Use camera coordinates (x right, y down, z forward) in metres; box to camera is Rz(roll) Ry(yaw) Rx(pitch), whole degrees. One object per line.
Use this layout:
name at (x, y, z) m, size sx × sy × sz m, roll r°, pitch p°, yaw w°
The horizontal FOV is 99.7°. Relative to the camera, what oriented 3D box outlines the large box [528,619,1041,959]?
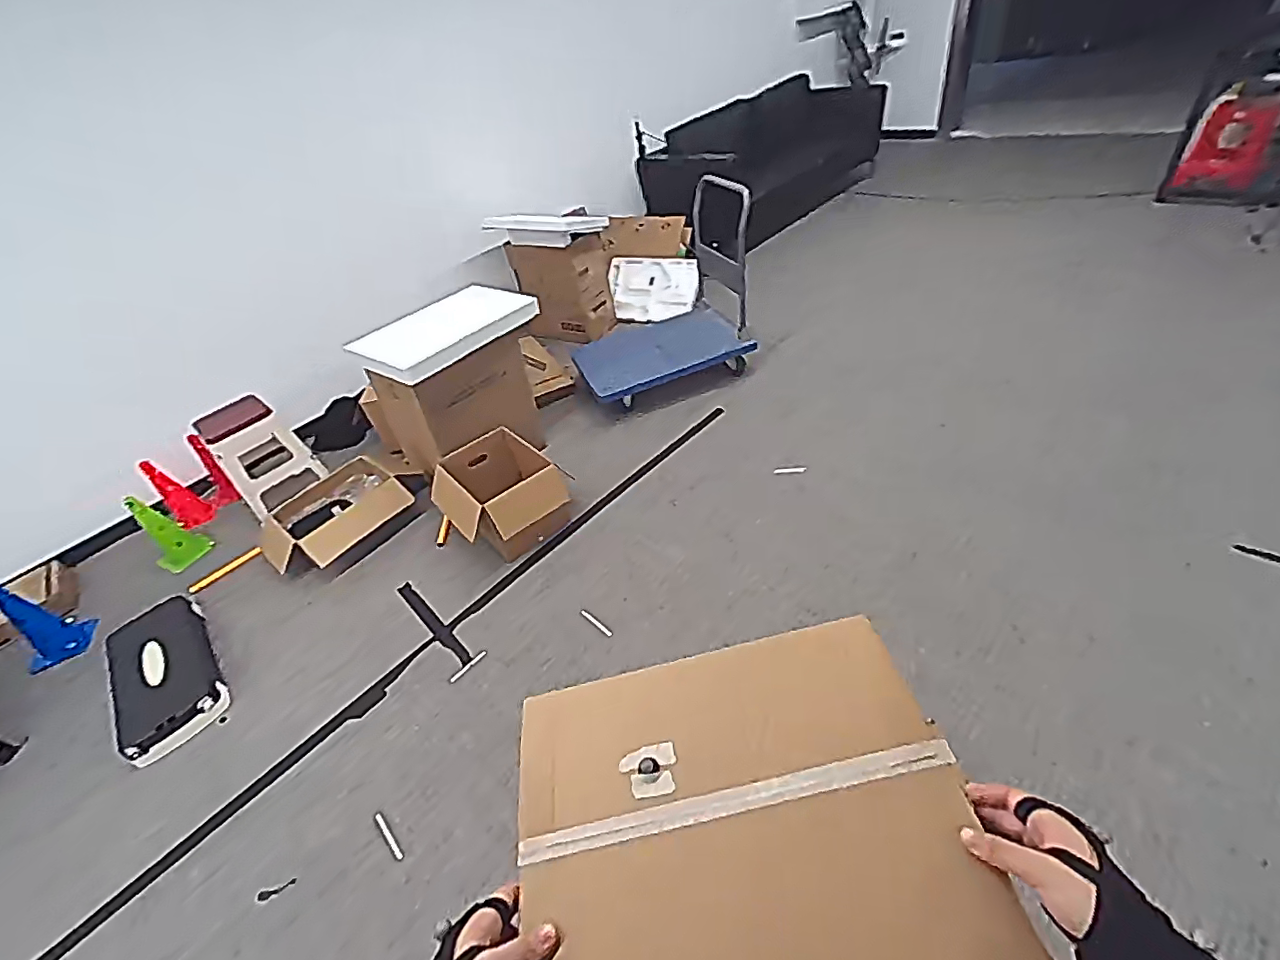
large box at (0.121, 0.416, 0.609) m, size 0.408 × 0.320 × 0.320 m, roll -16°, pitch 39°, yaw 3°
